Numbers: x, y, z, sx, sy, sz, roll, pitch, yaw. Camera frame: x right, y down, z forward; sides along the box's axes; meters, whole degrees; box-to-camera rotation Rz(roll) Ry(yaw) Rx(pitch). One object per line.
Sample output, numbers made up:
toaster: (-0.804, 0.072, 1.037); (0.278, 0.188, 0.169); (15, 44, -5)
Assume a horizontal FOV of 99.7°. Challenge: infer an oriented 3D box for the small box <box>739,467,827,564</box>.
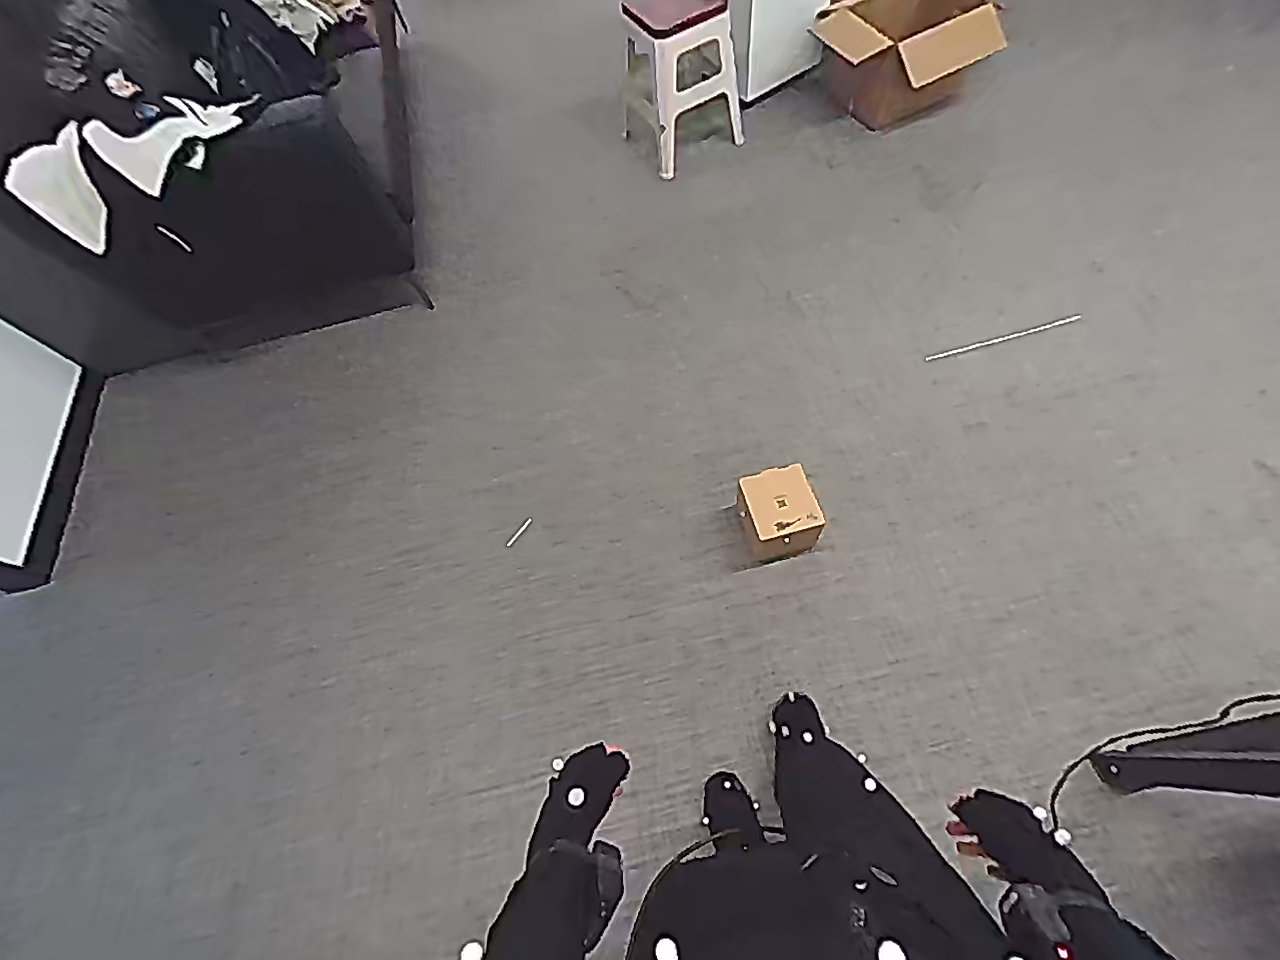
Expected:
small box: (0.361, 0.096, 1.405); (0.168, 0.176, 0.179); (-15, 62, 1)
